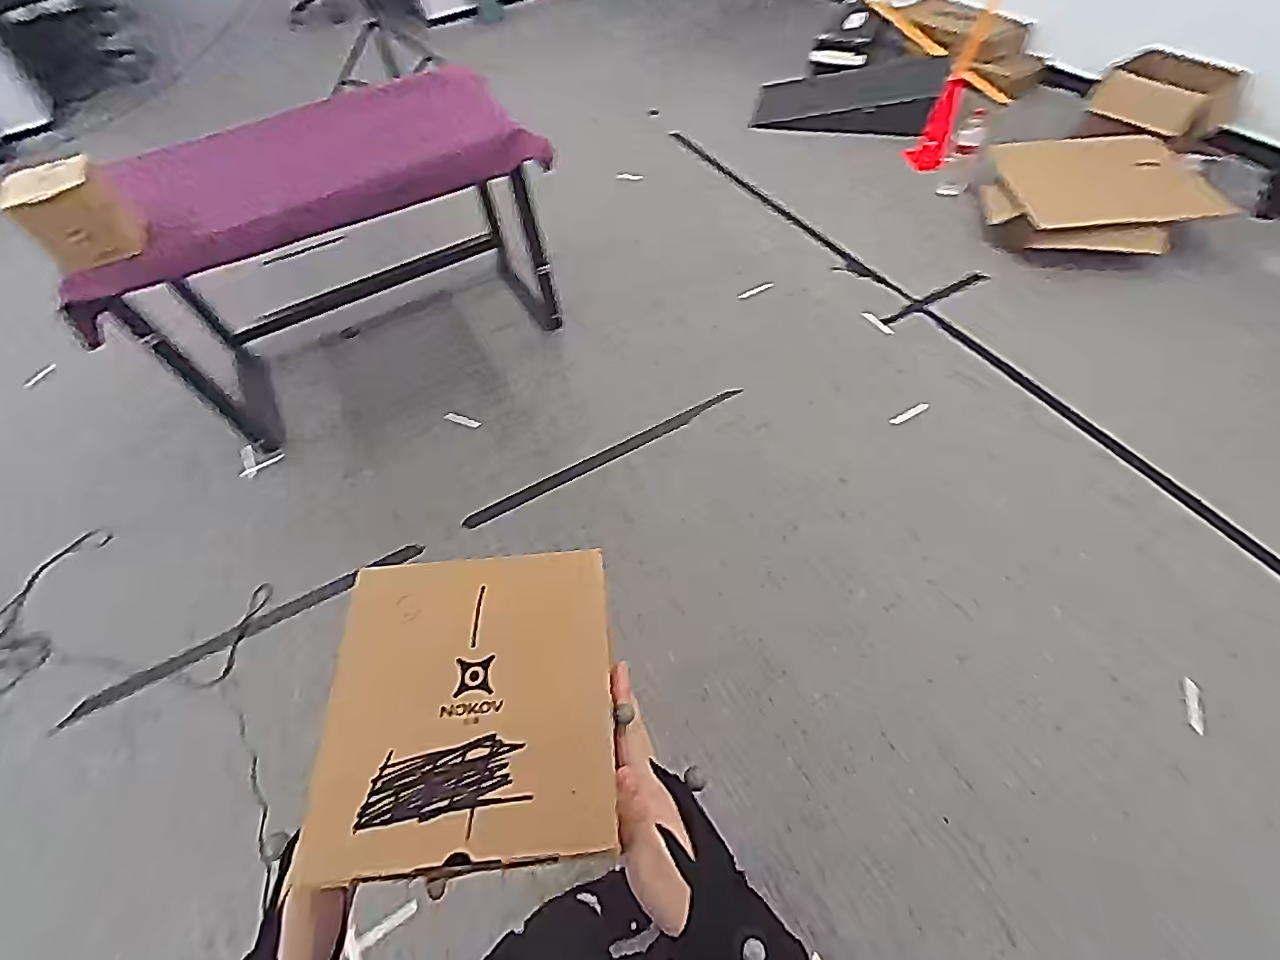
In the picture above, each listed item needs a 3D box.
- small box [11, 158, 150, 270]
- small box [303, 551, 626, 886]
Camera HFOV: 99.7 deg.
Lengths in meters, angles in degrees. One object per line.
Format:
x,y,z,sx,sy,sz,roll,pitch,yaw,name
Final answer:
-1.331,-0.632,1.301,0.168,0.176,0.179,-26,59,-12,small box
-0.099,0.172,0.390,0.168,0.176,0.179,-5,55,-4,small box
